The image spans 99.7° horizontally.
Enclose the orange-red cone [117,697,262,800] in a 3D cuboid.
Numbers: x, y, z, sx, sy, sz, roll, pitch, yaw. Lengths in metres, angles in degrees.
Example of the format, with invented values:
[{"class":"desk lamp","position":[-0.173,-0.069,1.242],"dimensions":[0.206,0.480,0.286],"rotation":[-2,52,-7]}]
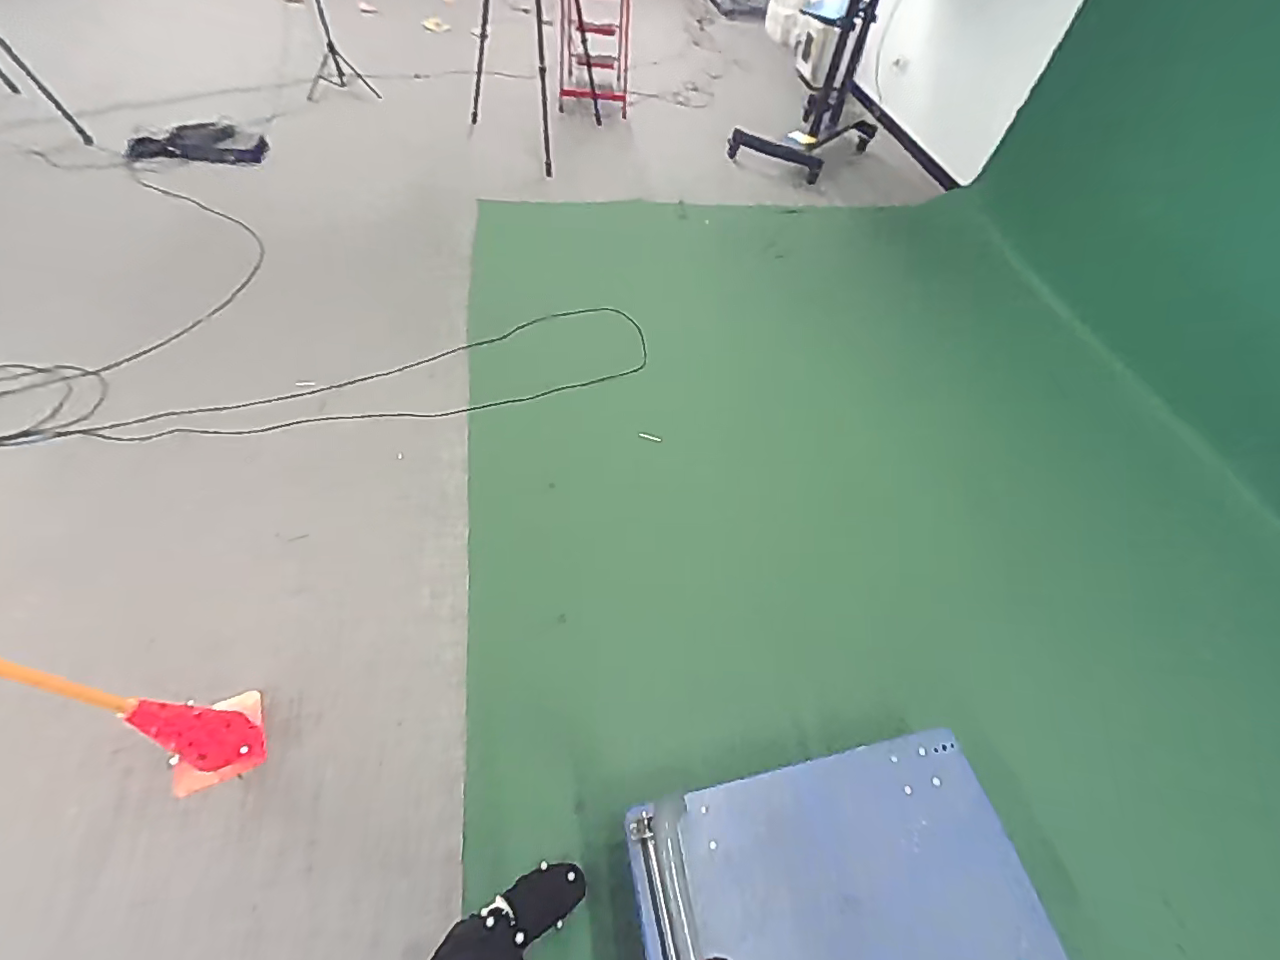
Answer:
[{"class":"orange-red cone","position":[-1.054,0.570,1.230],"dimensions":[0.198,0.360,0.199],"rotation":[-17,56,-19]}]
